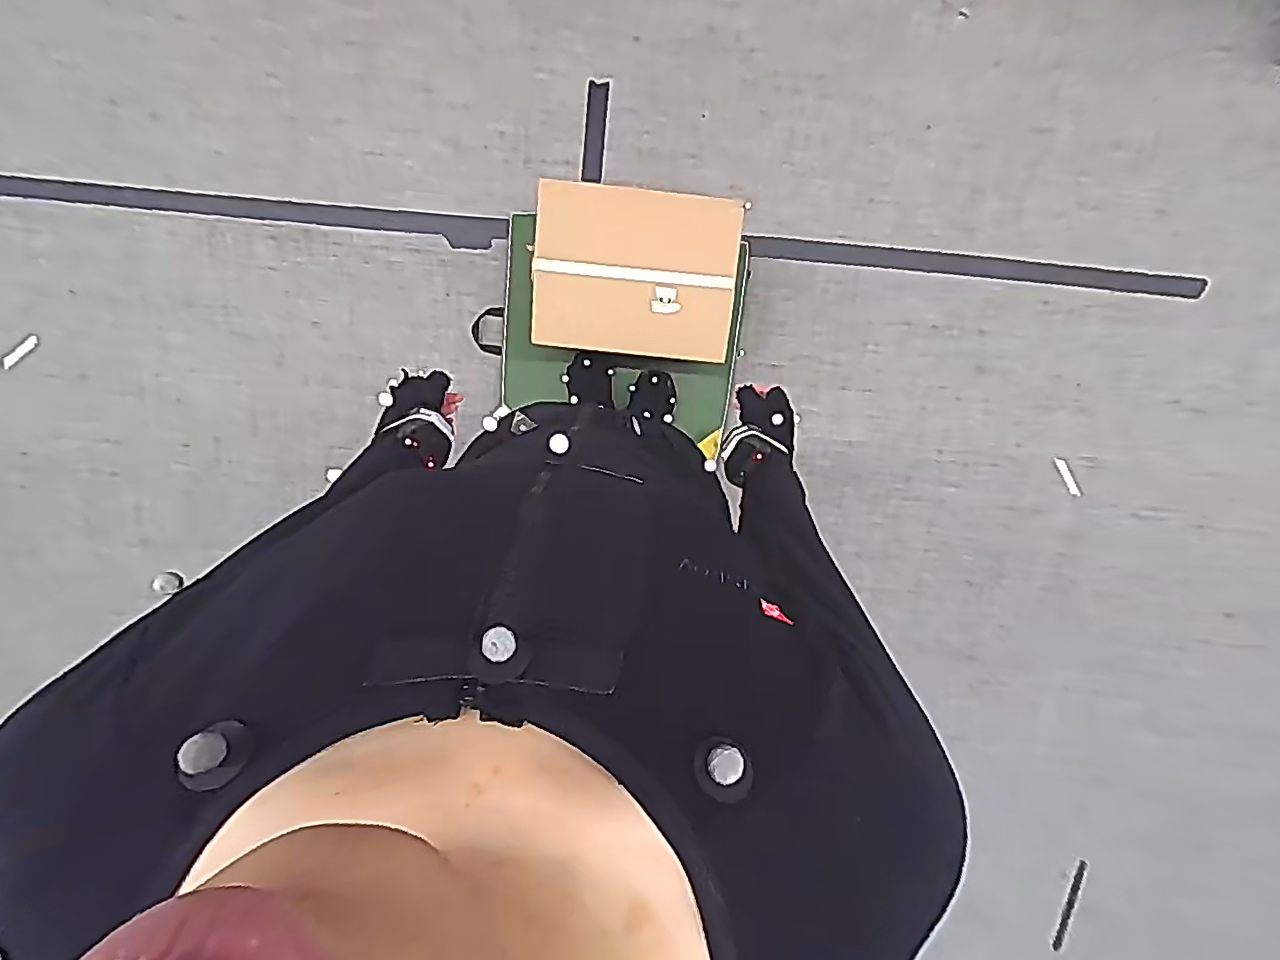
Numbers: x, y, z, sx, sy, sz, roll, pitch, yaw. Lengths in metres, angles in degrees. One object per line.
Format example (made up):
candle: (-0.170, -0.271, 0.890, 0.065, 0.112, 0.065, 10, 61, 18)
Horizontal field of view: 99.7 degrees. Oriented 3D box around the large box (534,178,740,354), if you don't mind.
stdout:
large box: (-0.015, -0.460, 1.234, 0.408, 0.320, 0.320, 5, 104, -2)
